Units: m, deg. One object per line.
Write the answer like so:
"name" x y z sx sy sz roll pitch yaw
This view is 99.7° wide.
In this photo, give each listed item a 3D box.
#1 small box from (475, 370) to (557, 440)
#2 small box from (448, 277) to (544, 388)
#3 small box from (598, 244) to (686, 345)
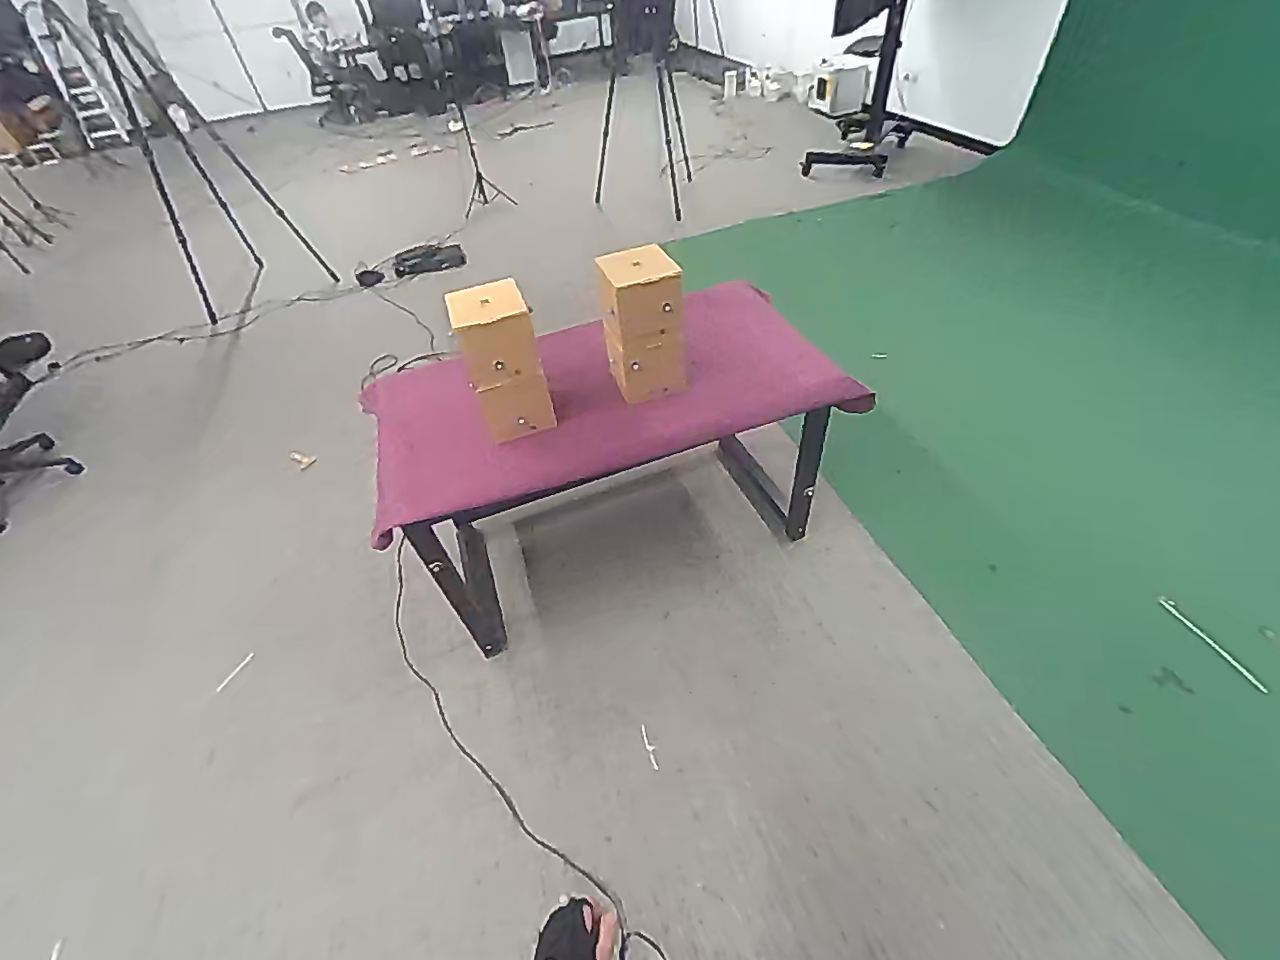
"small box" -0.319 -0.229 1.373 0.168 0.176 0.179 -17 47 -9
"small box" -0.332 -0.342 1.257 0.168 0.176 0.179 -18 48 -11
"small box" 0.007 -0.445 1.316 0.168 0.176 0.179 -17 47 -10
